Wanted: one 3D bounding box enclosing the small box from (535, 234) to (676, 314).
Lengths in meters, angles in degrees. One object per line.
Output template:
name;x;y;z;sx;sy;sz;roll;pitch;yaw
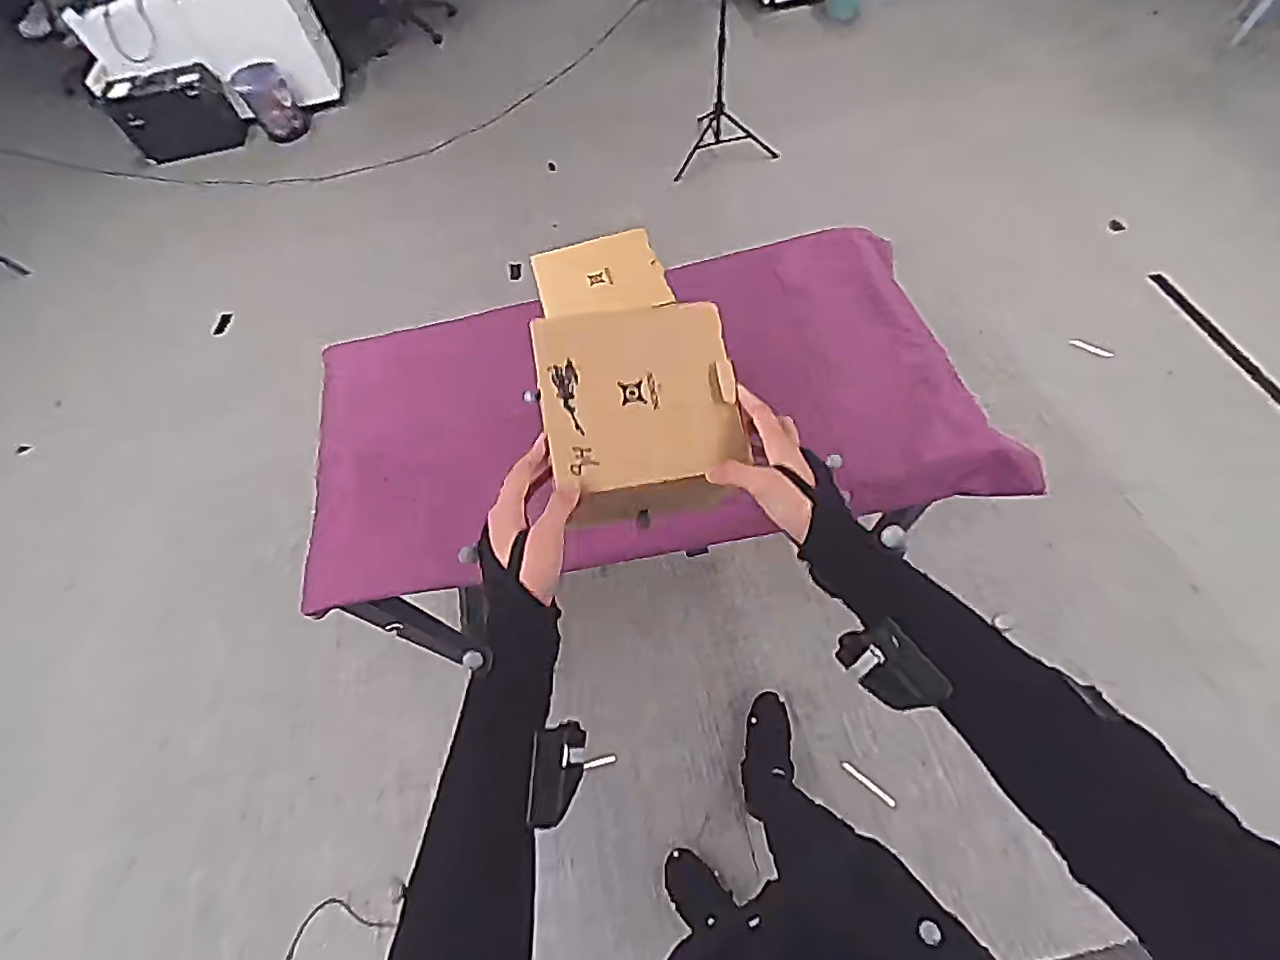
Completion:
small box;-0.045;-0.235;0.825;0.179;0.176;0.168;-15;61;-3

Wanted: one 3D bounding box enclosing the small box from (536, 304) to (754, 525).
small box;-0.009;-0.057;0.551;0.179;0.176;0.168;-8;76;-10
